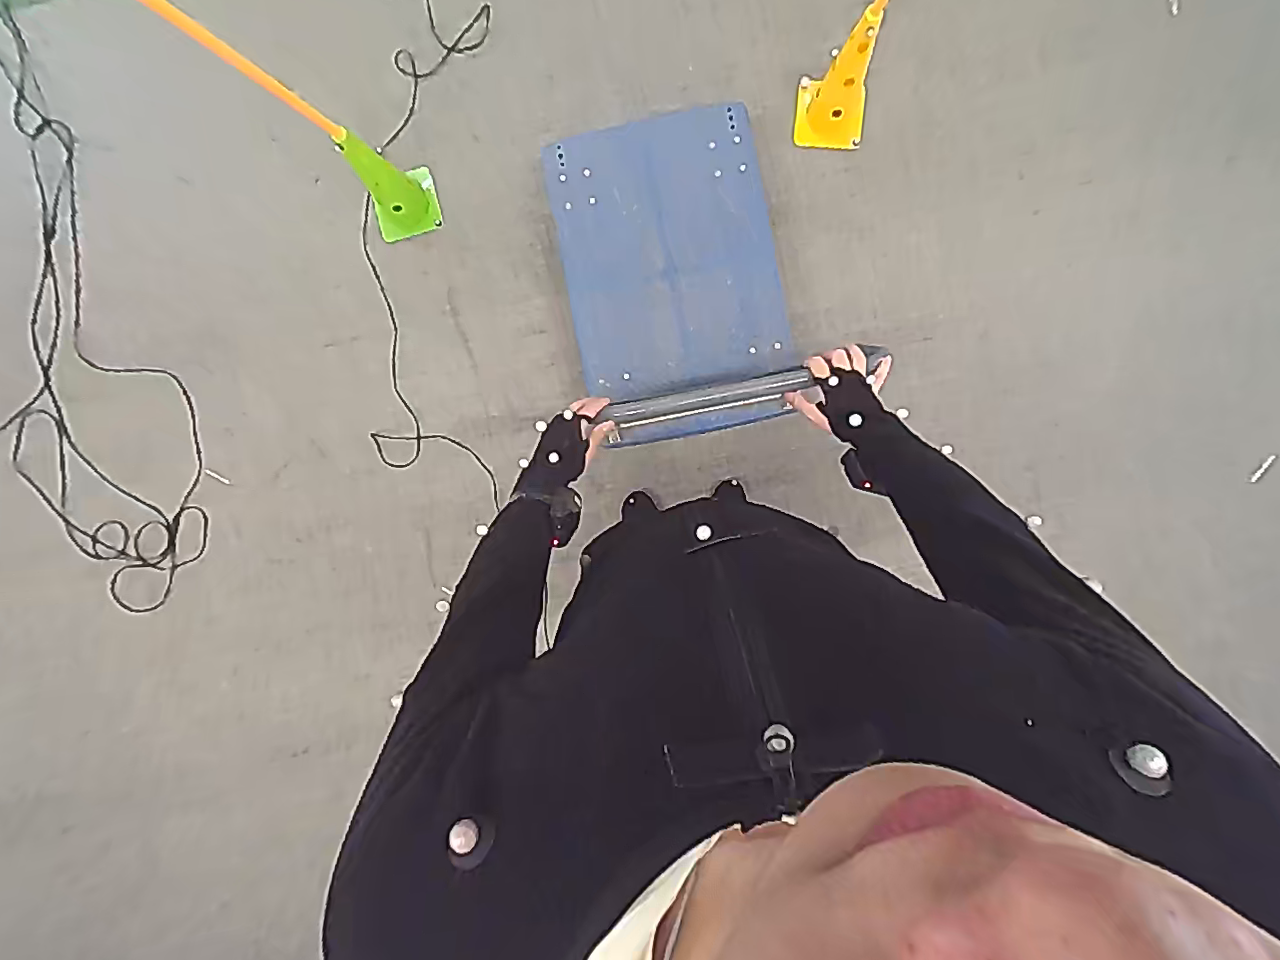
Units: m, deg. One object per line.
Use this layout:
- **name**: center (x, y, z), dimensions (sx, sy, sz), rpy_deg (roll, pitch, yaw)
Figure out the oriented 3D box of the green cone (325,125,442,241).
- **green cone**: center (-0.745, -0.868, 1.520), dimensions (0.202, 0.368, 0.200), rpy_deg (-15, 88, 5)
